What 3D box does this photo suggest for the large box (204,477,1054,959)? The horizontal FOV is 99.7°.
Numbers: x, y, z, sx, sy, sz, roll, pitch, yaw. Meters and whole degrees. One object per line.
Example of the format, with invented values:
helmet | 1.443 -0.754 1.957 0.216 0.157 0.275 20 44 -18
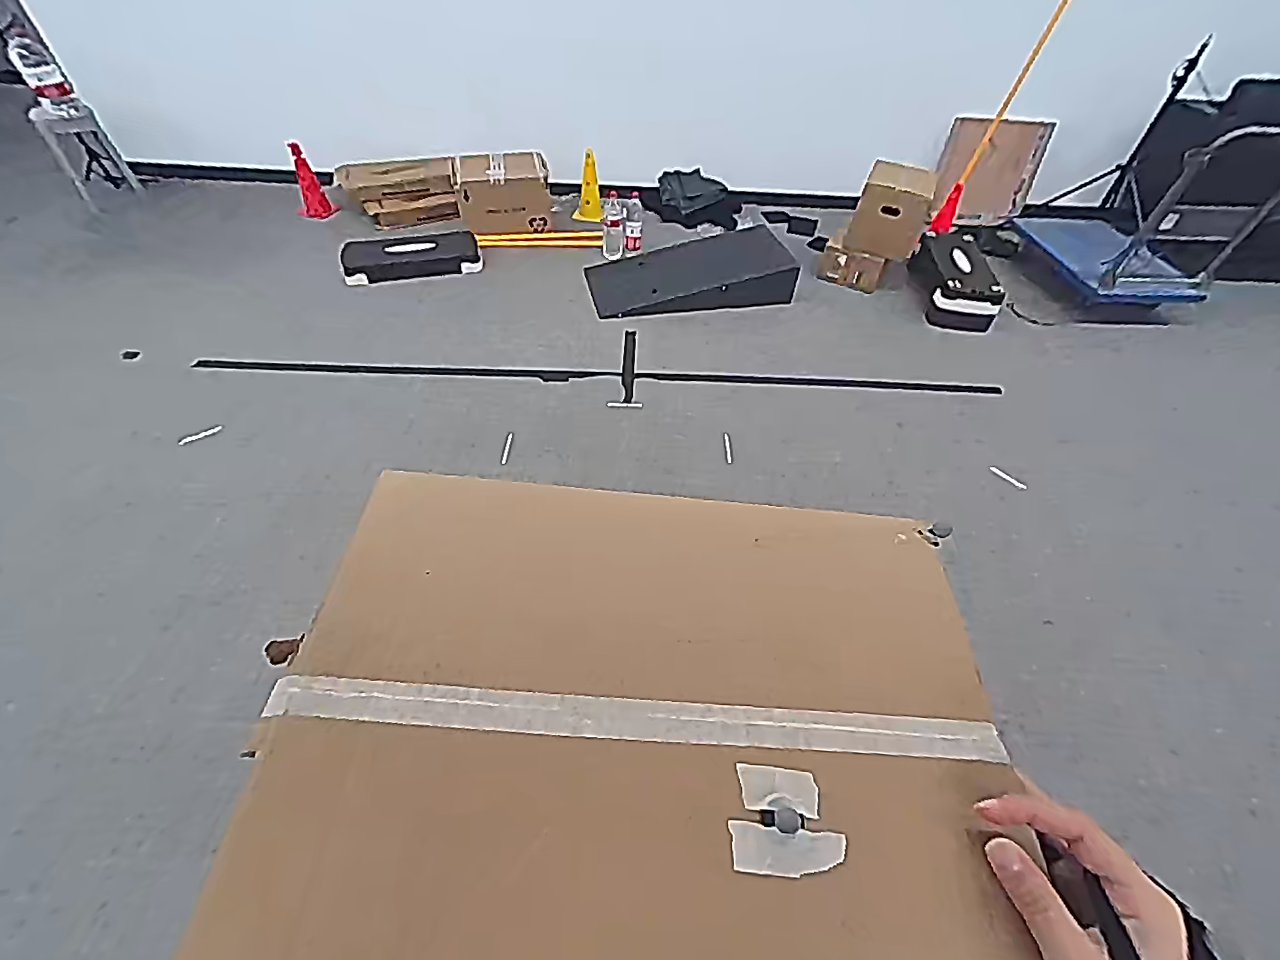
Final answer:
large box | -0.007 0.225 0.435 0.408 0.320 0.320 6 53 -4
